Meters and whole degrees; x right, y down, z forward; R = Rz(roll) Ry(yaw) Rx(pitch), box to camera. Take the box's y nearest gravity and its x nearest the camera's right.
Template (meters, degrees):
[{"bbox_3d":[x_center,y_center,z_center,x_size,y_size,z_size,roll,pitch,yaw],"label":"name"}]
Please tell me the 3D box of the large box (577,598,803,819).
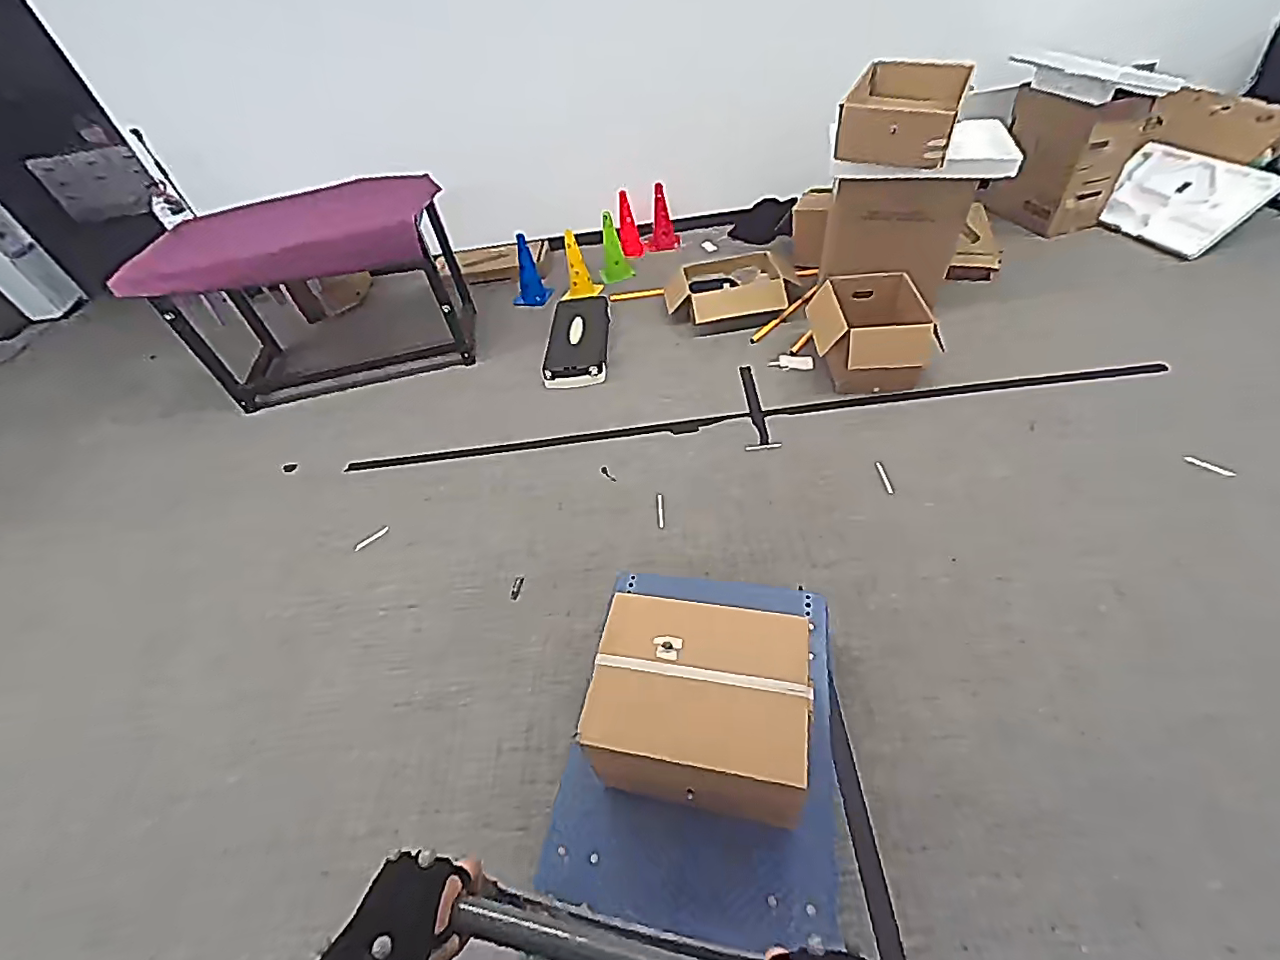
[{"bbox_3d":[0.129,0.480,1.144,0.408,0.320,0.320,4,47,14],"label":"large box"}]
